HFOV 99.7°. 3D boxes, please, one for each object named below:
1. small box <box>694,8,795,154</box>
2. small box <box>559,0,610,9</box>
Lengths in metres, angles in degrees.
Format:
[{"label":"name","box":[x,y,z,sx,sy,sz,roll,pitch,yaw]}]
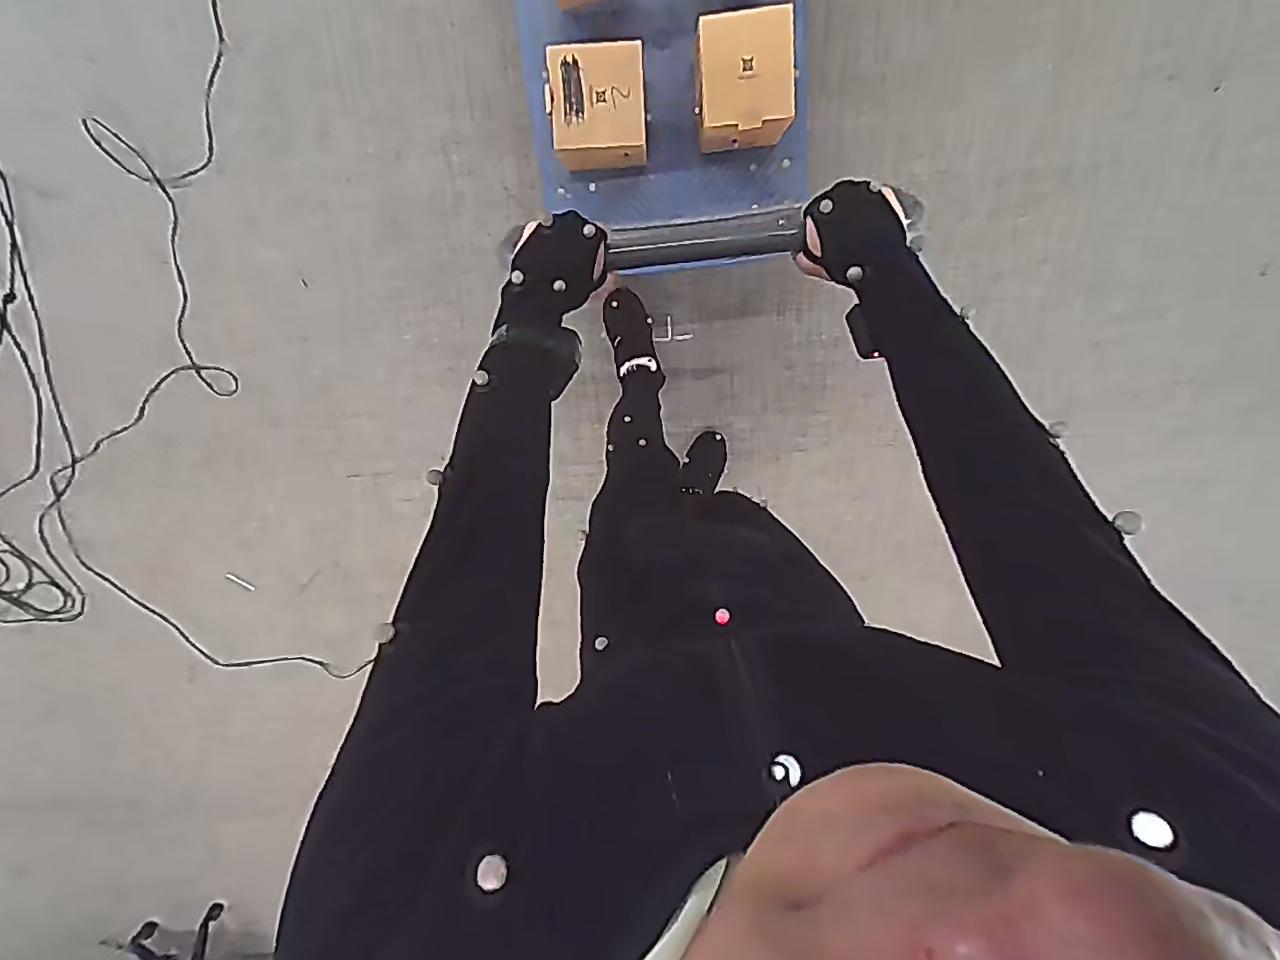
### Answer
[{"label":"small box","box":[0.197,-0.761,1.048,0.168,0.176,0.179,-5,108,3]},{"label":"small box","box":[-0.095,-1.002,0.978,0.168,0.176,0.179,-11,107,4]}]
